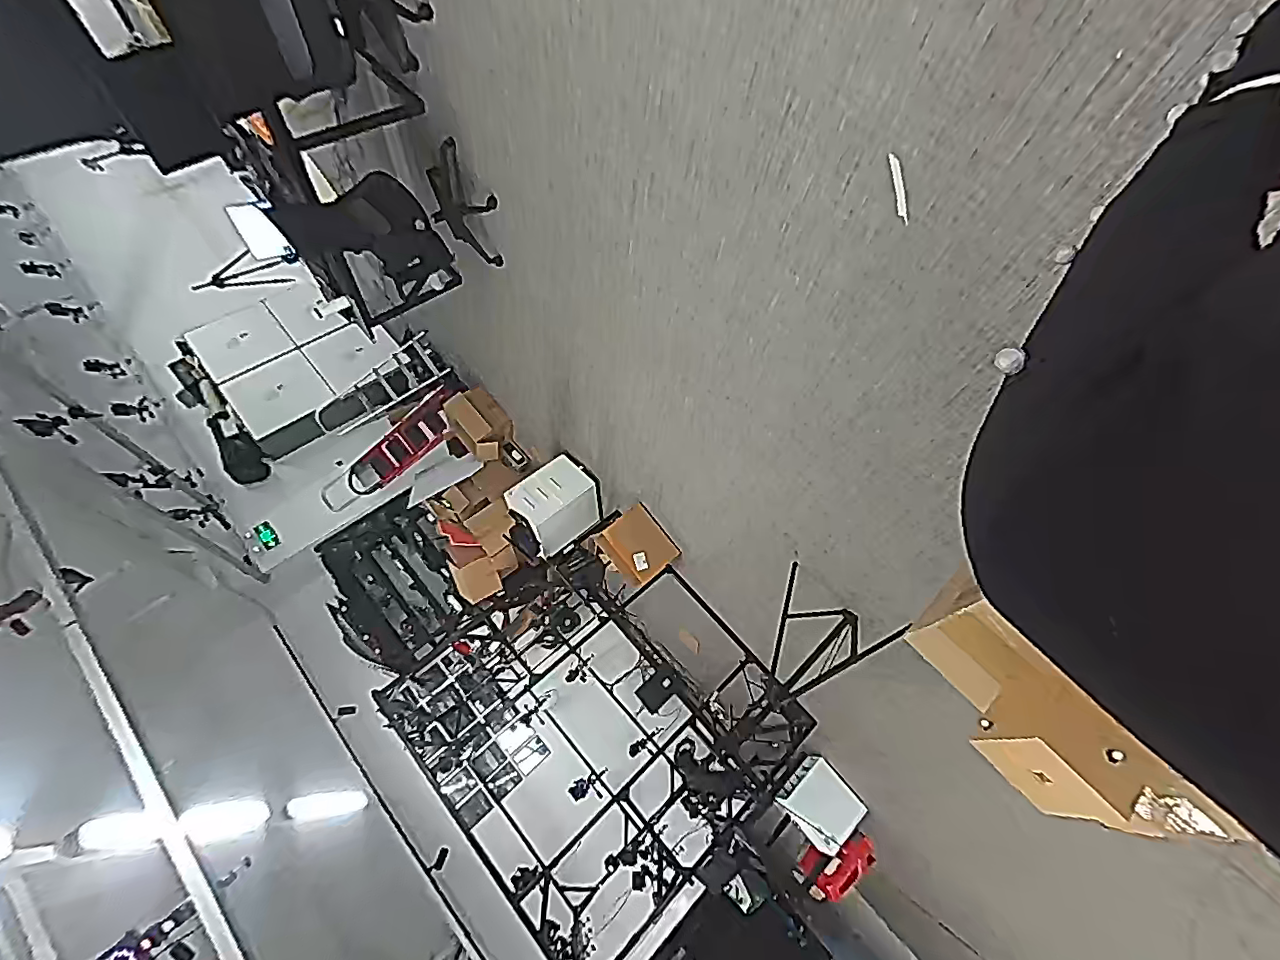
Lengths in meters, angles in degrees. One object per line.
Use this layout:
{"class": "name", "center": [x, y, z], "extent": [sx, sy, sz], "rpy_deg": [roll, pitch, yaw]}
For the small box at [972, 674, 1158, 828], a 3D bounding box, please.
{"class": "small box", "center": [0.736, 0.459, 0.937], "extent": [0.168, 0.176, 0.179], "rpy_deg": [46, 156, 15]}
